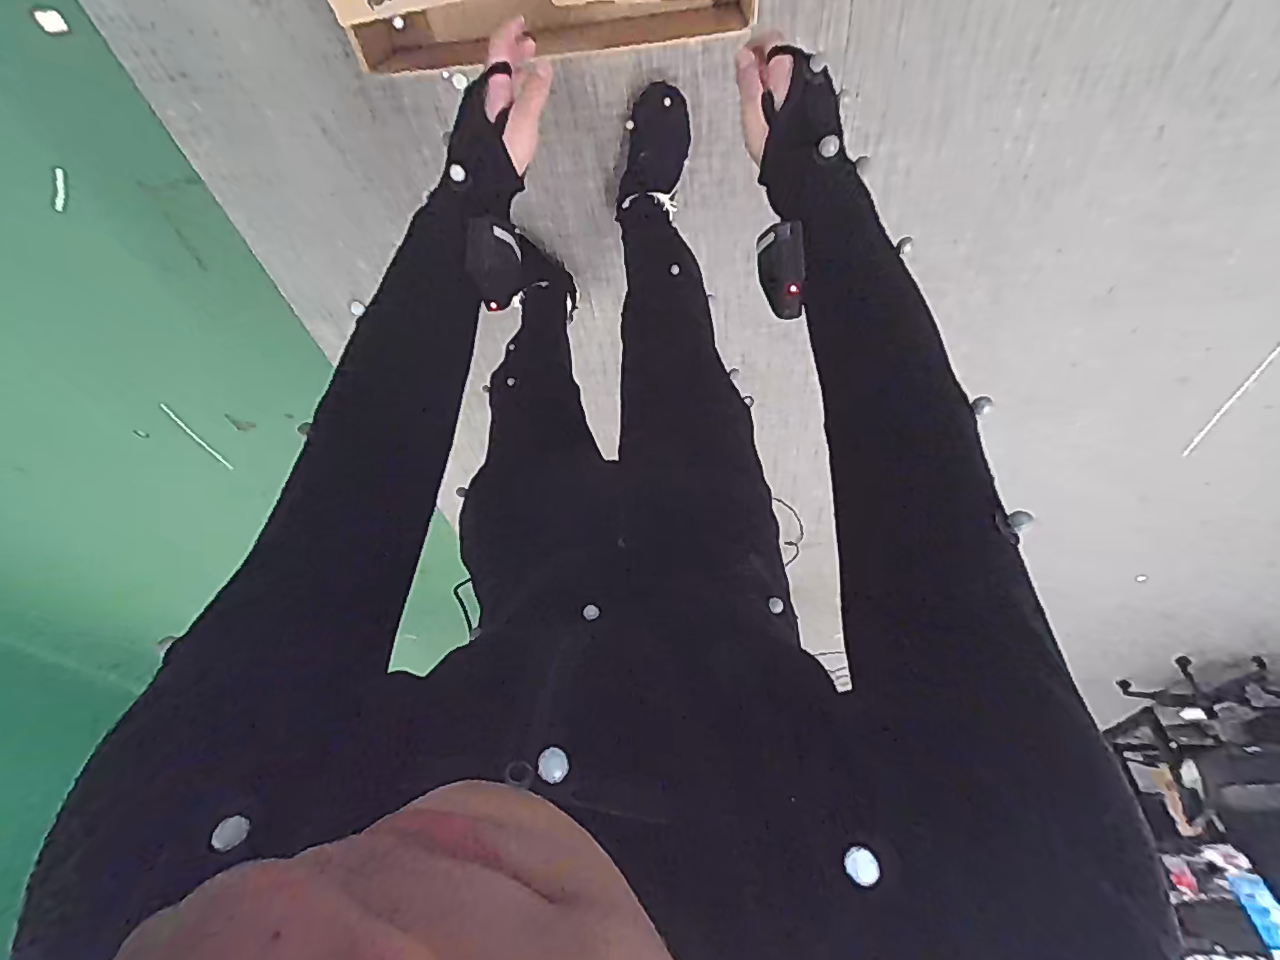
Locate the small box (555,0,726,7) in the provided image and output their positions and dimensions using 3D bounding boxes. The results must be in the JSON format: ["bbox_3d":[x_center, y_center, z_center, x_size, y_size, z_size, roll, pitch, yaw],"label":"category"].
[{"bbox_3d":[0.000,-0.562,0.489,0.168,0.176,0.179,0,142,3],"label":"small box"}]

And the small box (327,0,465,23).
[{"bbox_3d":[-0.292,-0.670,0.628,0.168,0.176,0.179,-3,140,8],"label":"small box"}]
